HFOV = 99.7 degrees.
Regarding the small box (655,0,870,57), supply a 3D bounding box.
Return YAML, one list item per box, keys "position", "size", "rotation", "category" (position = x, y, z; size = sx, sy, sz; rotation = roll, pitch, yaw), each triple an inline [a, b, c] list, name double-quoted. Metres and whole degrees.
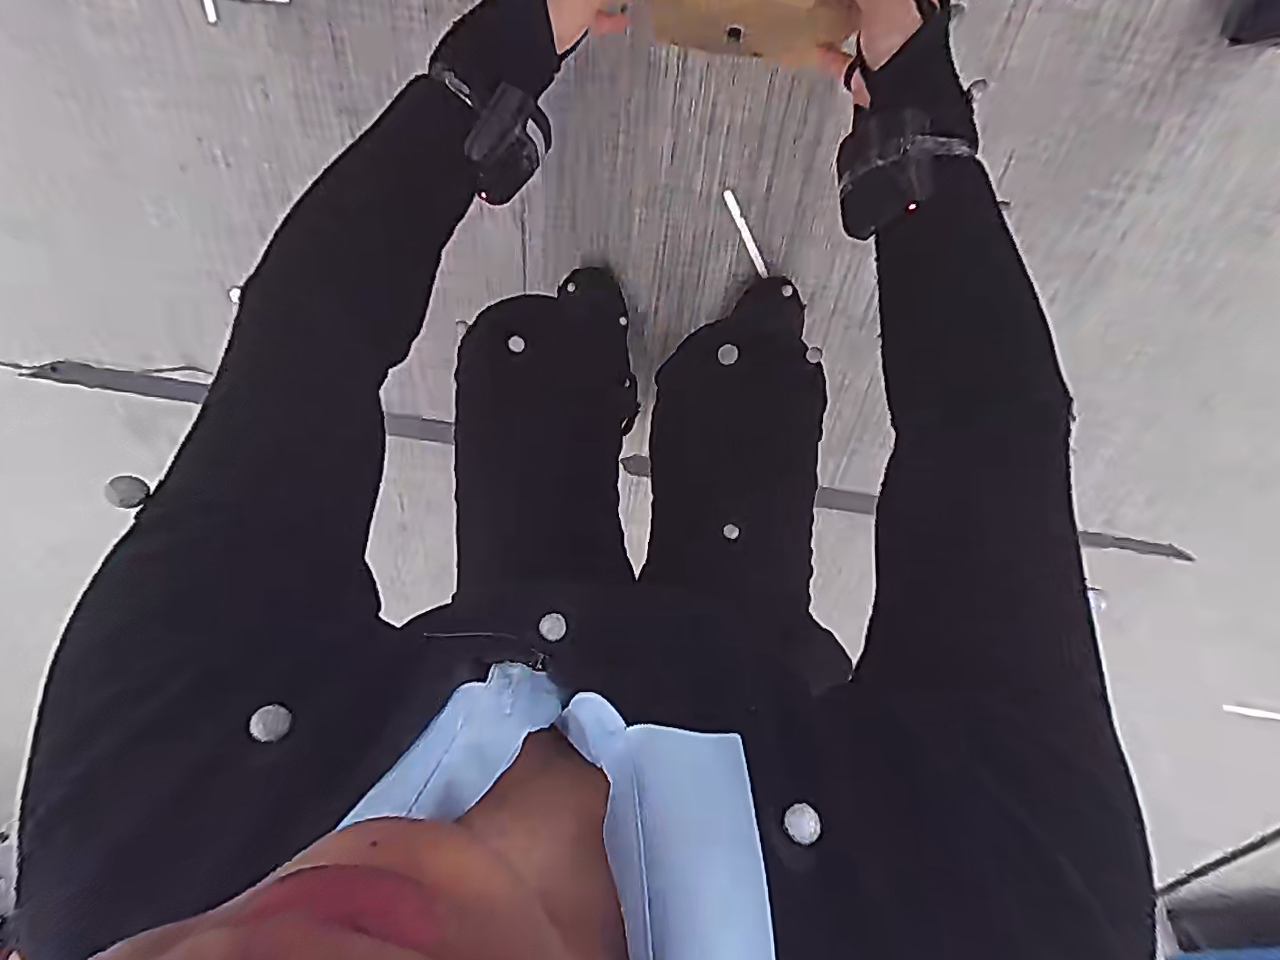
- position: [0.104, -0.461, 0.420]
  size: [0.168, 0.176, 0.179]
  rotation: [9, 117, -2]
  category: "small box"
